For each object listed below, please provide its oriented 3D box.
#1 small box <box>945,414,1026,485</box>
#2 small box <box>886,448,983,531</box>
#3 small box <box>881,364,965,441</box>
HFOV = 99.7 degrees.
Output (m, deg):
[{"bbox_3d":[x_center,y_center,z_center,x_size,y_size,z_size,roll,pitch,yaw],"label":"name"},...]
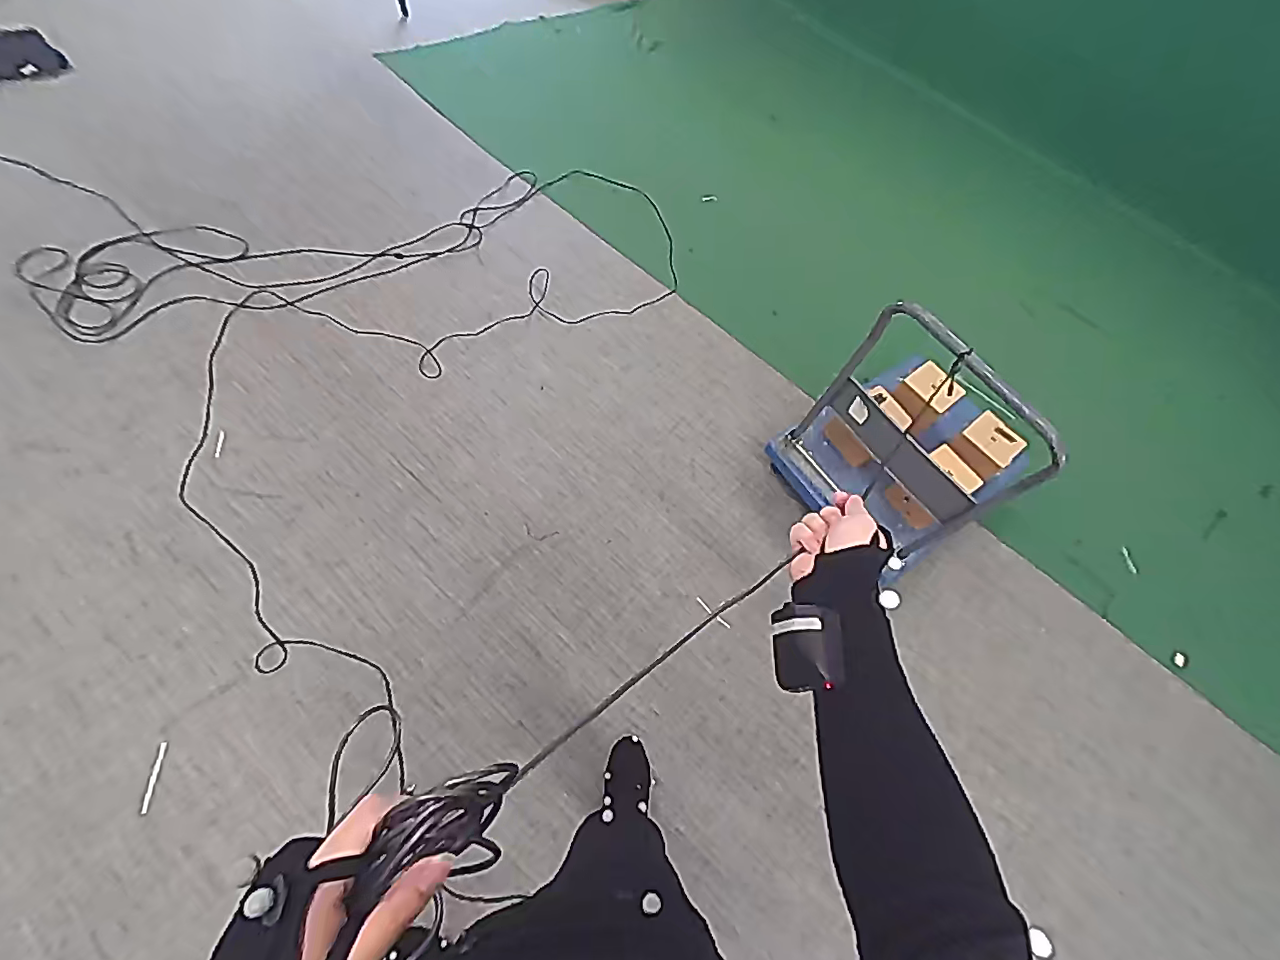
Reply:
[{"bbox_3d":[1.140,-0.086,1.827,0.179,0.176,0.168,-33,71,-25],"label":"small box"},{"bbox_3d":[0.924,0.033,1.715,0.179,0.176,0.168,-28,70,-24],"label":"small box"},{"bbox_3d":[0.981,-0.268,1.898,0.179,0.176,0.168,-32,72,-26],"label":"small box"}]
